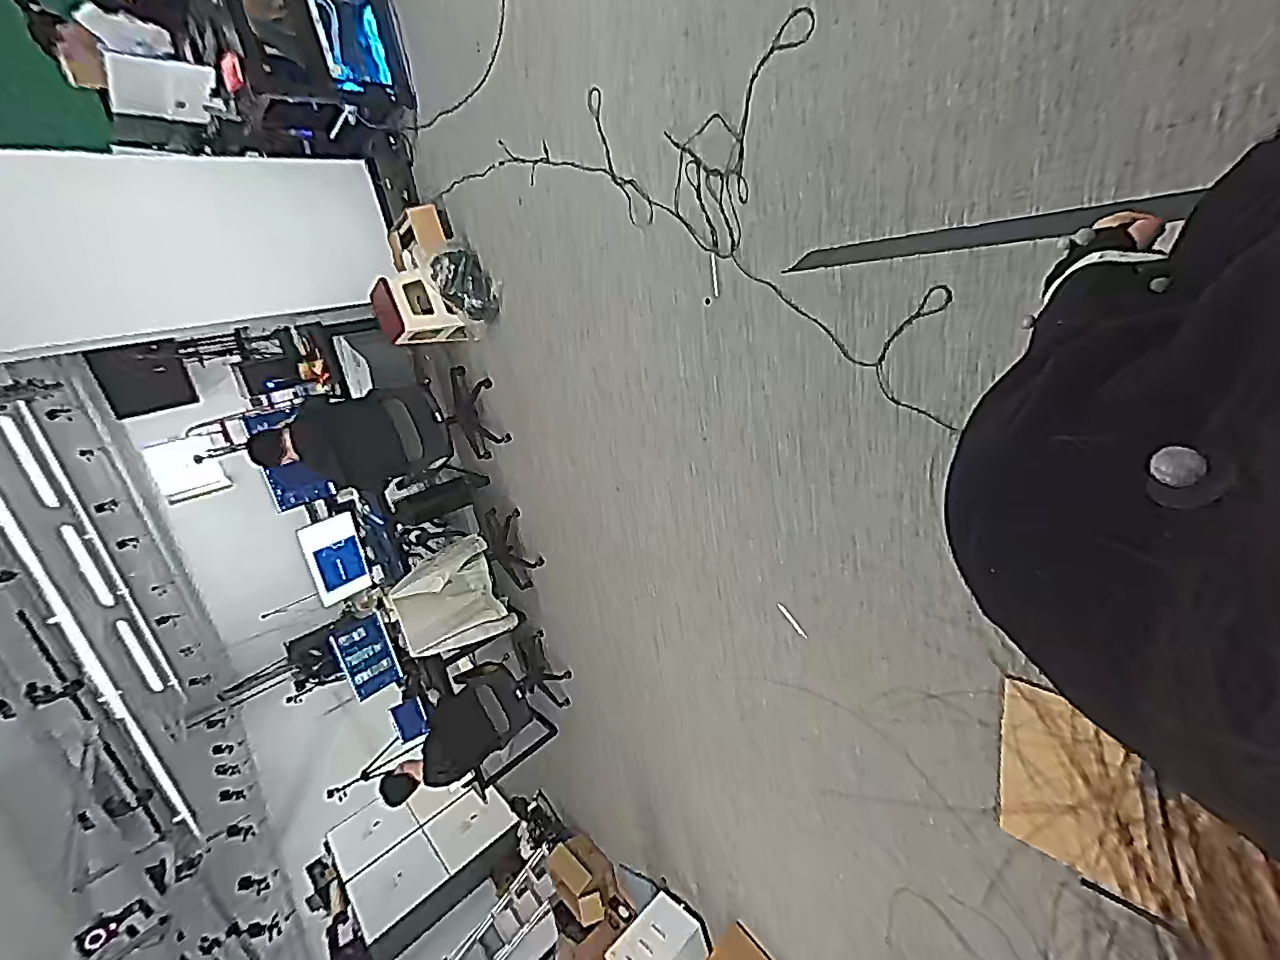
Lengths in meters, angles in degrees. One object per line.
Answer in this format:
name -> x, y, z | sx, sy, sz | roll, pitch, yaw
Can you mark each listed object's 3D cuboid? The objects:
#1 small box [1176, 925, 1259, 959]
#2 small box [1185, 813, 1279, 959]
small box -> 1.137, 1.028, 1.035 | 0.168, 0.176, 0.179 | 13, 120, 47
small box -> 1.380, 0.912, 1.225 | 0.168, 0.176, 0.179 | 17, 123, 47
